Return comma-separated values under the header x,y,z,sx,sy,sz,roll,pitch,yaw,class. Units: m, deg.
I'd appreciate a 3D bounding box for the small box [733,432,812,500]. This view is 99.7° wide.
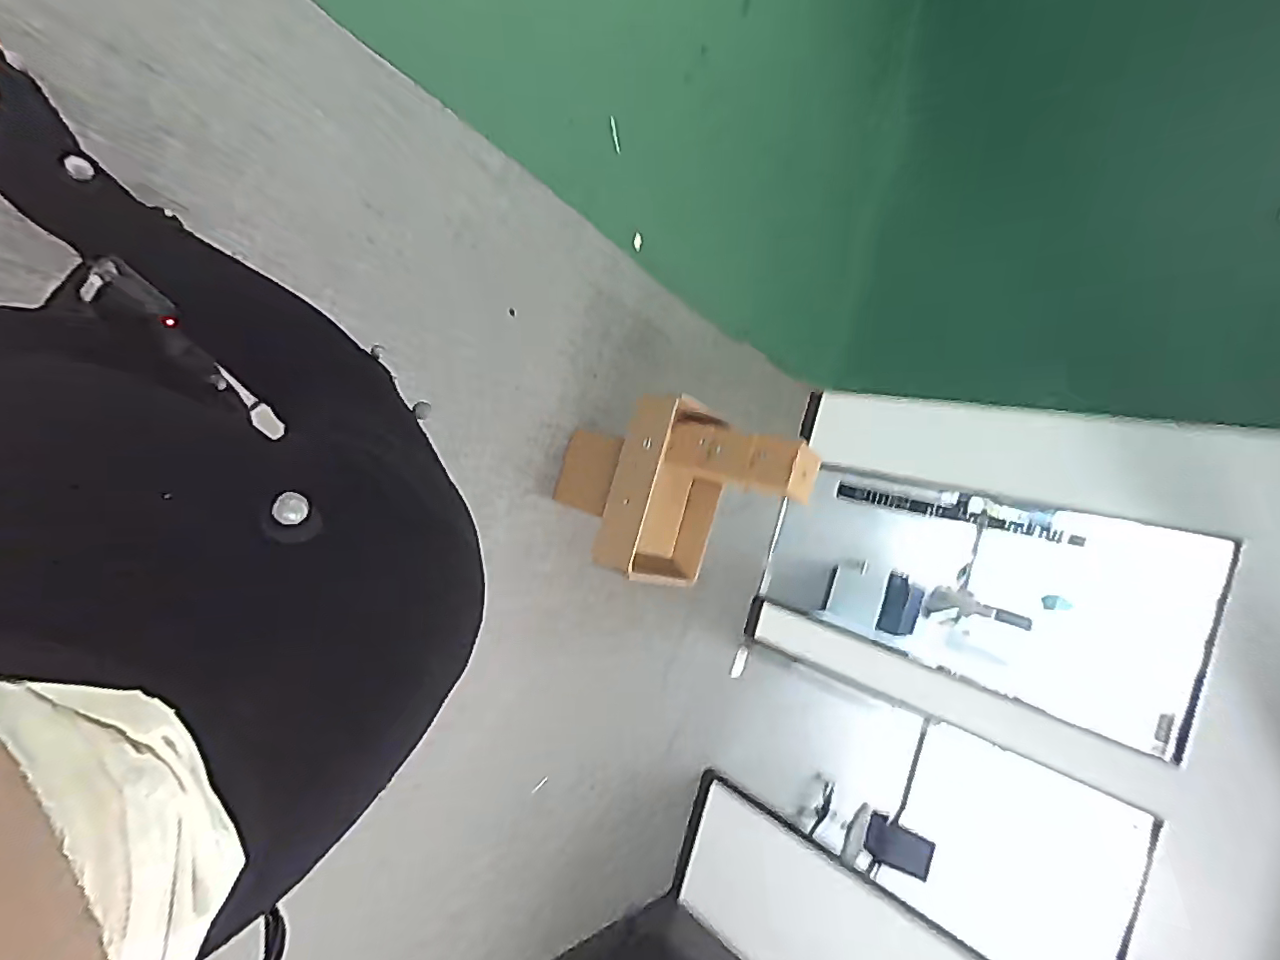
x,y,z,sx,sy,sz,roll,pitch,yaw,class
0.430,-0.048,1.756,0.179,0.176,0.168,26,81,-49,small box

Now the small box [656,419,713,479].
x,y,z,sx,sy,sz,roll,pitch,yaw,class
0.189,-0.117,1.966,0.179,0.176,0.168,21,85,-50,small box

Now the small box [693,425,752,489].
x,y,z,sx,sy,sz,roll,pitch,yaw,class
0.310,-0.083,1.861,0.179,0.176,0.168,24,82,-49,small box
